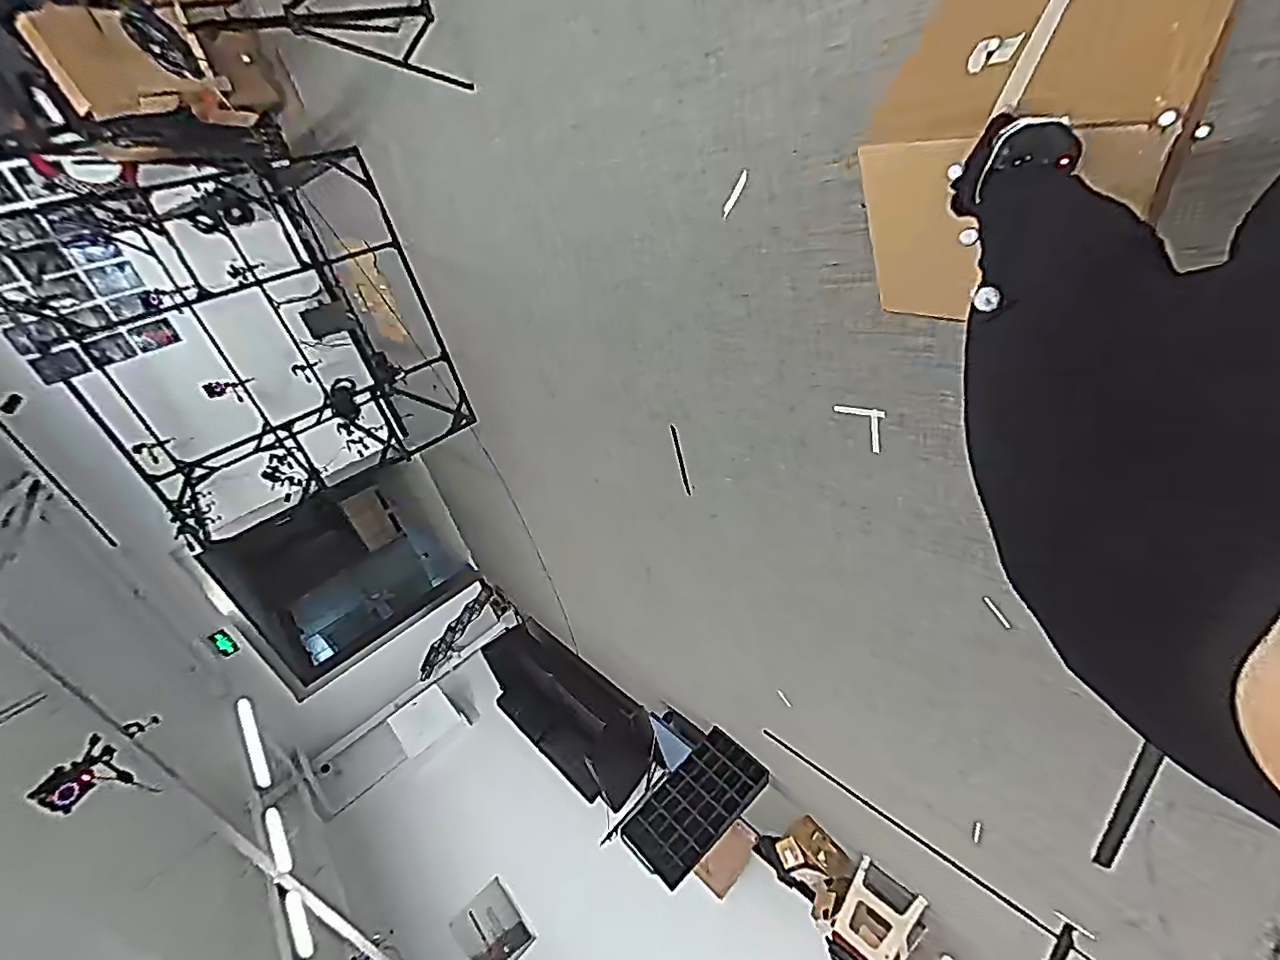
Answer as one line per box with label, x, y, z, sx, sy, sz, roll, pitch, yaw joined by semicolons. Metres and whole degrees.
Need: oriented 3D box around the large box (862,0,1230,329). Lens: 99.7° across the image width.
large box;0.565;-0.488;0.771;0.320;0.408;0.320;23;167;38
